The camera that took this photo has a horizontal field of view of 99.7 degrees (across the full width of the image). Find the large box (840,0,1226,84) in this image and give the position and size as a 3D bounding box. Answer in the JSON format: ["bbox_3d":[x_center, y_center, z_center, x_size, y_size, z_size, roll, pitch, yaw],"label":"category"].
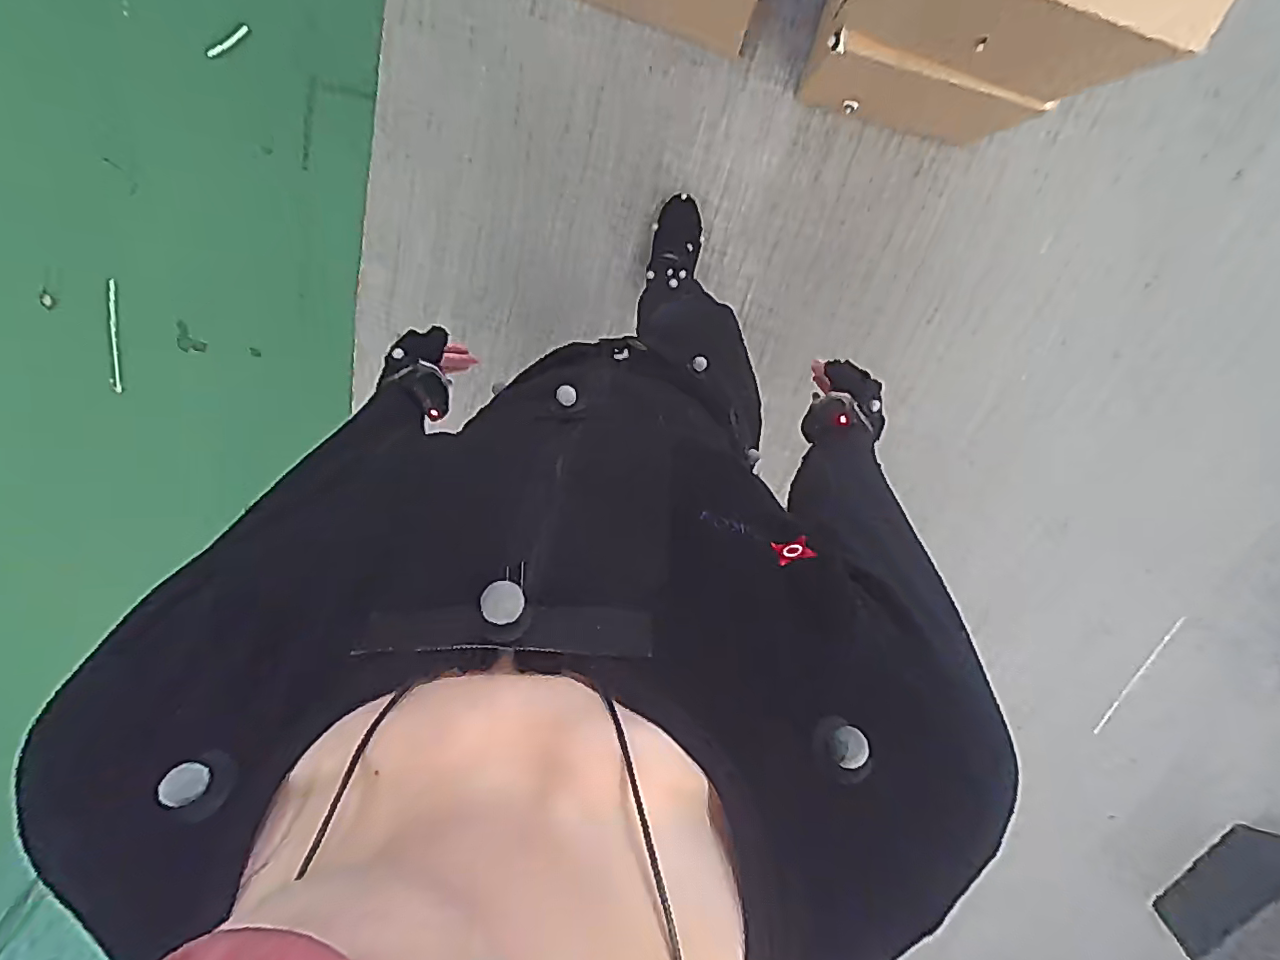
[{"bbox_3d":[0.544,-0.780,0.705,0.408,0.320,0.320,17,116,-3],"label":"large box"}]
